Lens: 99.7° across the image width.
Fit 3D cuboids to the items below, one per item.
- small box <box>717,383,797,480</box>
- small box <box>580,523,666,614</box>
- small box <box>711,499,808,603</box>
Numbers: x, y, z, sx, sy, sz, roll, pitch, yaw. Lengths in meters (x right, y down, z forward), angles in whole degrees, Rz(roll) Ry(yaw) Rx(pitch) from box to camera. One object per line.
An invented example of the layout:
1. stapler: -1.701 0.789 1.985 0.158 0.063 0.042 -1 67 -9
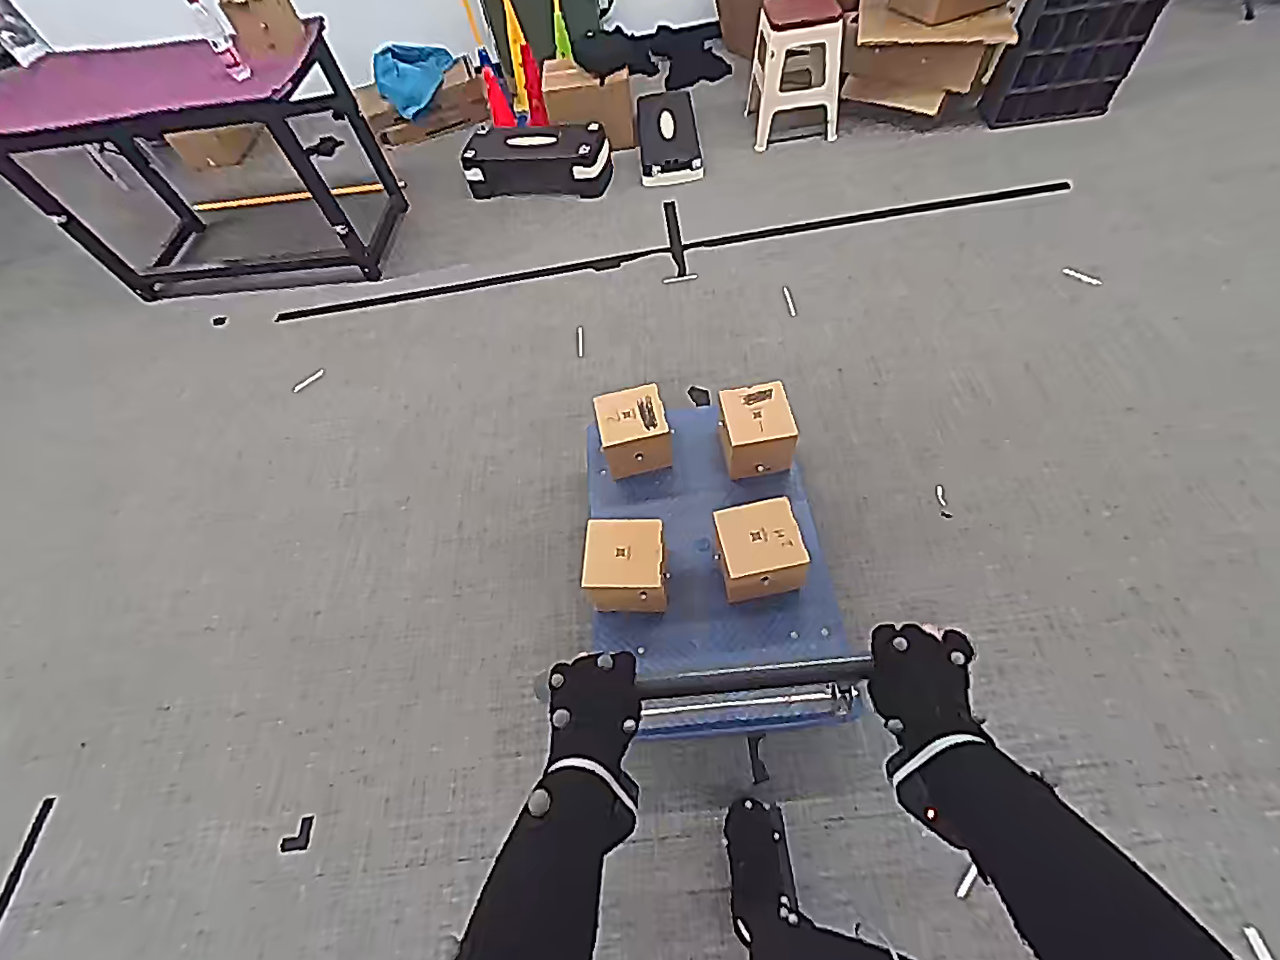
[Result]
1. small box: 0.297 -0.123 1.414 0.168 0.176 0.179 -10 60 2
2. small box: -0.032 0.211 1.264 0.179 0.176 0.168 -1 59 5
3. small box: 0.269 0.170 1.245 0.179 0.176 0.168 -12 59 1
